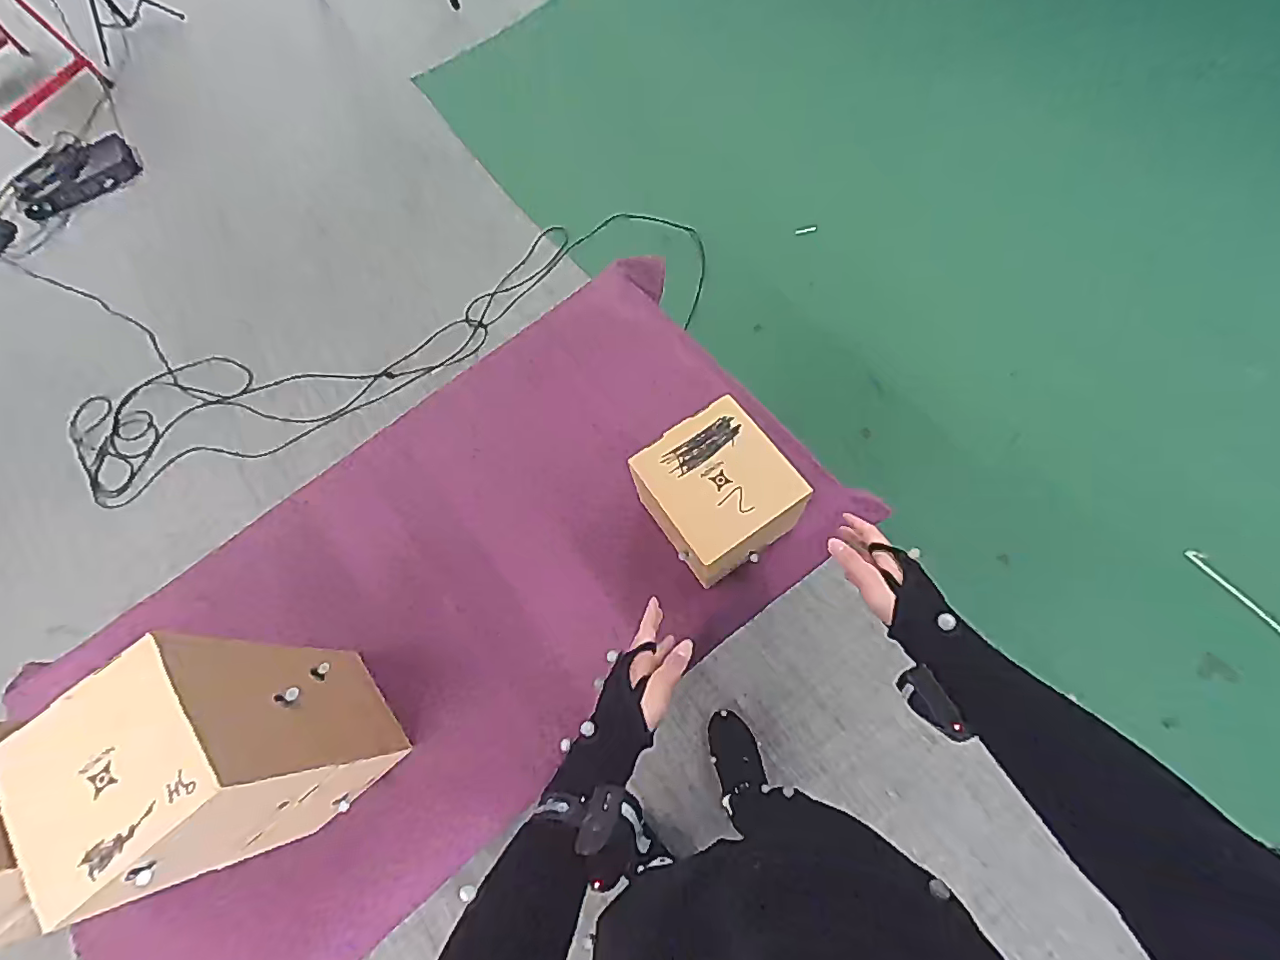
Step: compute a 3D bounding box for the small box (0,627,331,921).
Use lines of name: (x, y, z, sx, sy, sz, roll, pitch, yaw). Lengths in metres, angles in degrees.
small box: (-0.465, 0.278, 0.550, 0.168, 0.176, 0.179, -40, 70, -8)

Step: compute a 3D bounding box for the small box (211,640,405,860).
small box: (-0.448, 0.336, 0.703, 0.168, 0.176, 0.179, -39, 71, -8)
